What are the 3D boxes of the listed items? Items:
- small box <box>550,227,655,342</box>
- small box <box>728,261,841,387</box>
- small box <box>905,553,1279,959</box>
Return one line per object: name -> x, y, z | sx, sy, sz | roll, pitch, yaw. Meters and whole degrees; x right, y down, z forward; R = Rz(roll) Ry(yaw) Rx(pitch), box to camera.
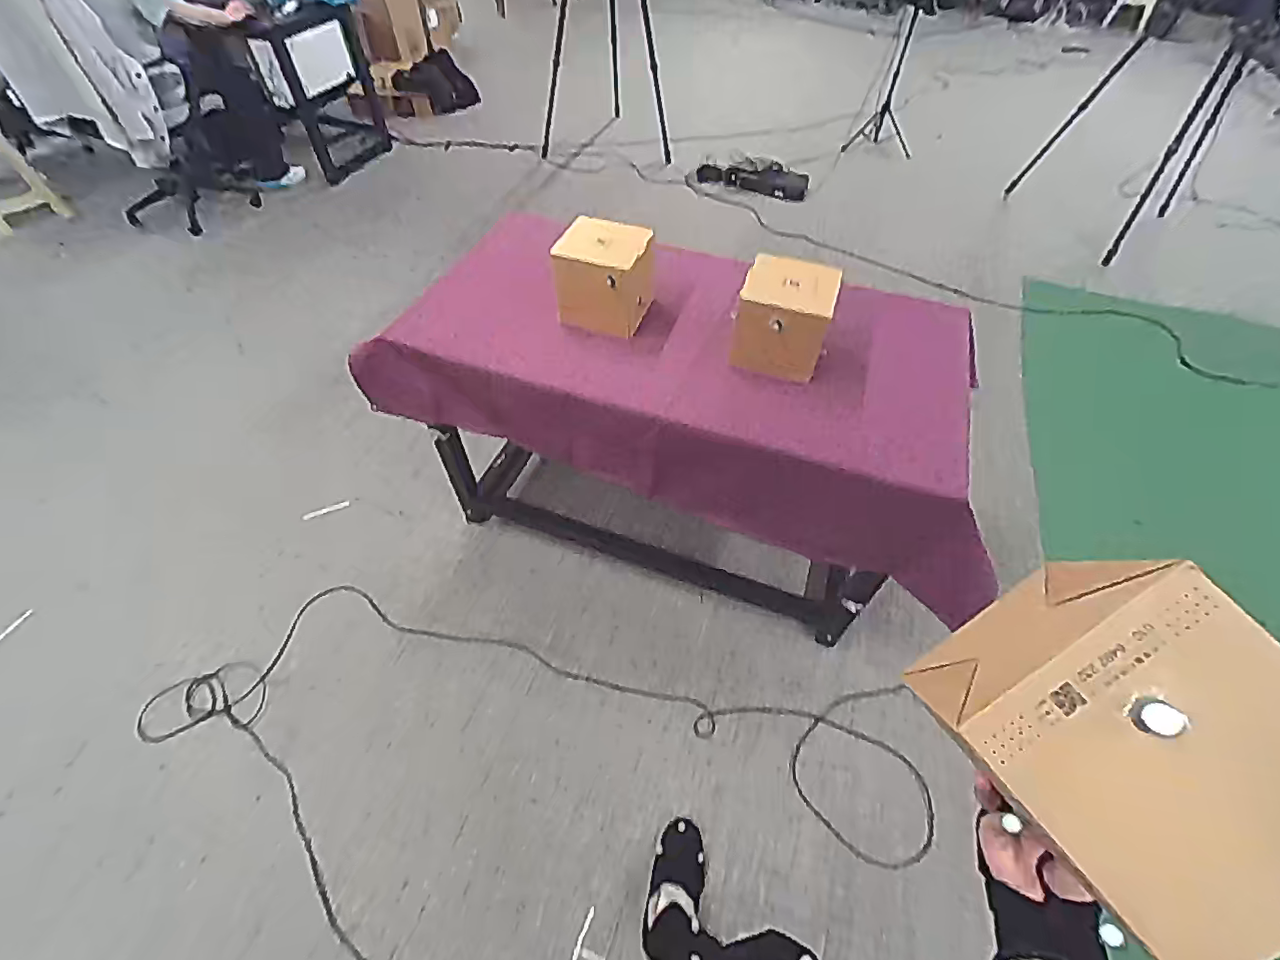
small box -> -0.077, -0.426, 1.188 | 0.179, 0.176, 0.168 | 16, 53, 10
small box -> 0.289, -0.314, 1.102 | 0.179, 0.176, 0.168 | 17, 54, 12
small box -> 0.321, 0.166, 0.380 | 0.168, 0.179, 0.176 | -41, 72, 5
